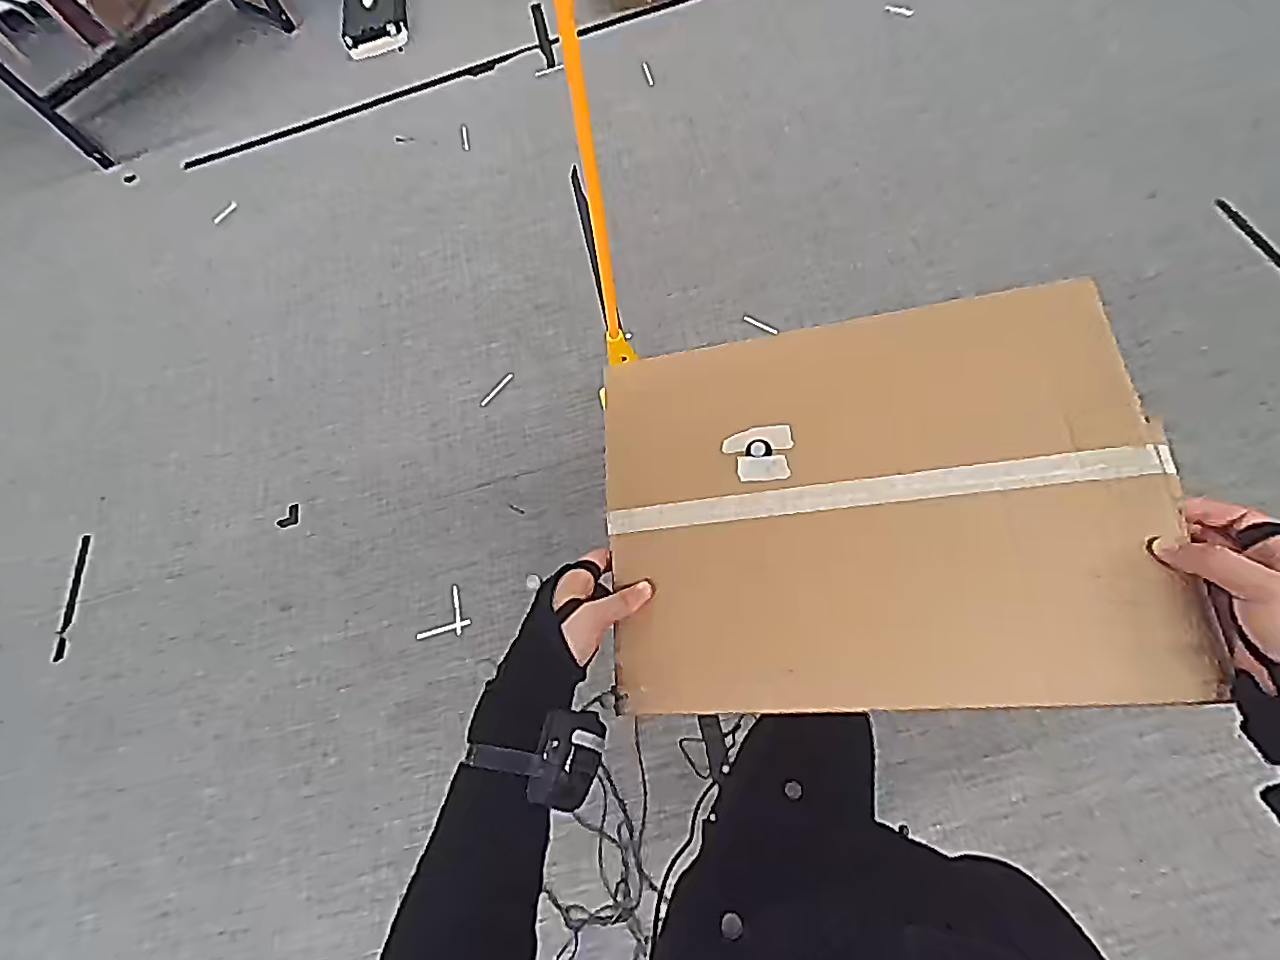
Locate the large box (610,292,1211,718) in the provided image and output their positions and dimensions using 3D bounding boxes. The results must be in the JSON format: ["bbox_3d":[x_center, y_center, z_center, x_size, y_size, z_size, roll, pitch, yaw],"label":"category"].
[{"bbox_3d":[0.213,0.062,0.576,0.408,0.320,0.320,-8,70,16],"label":"large box"}]
